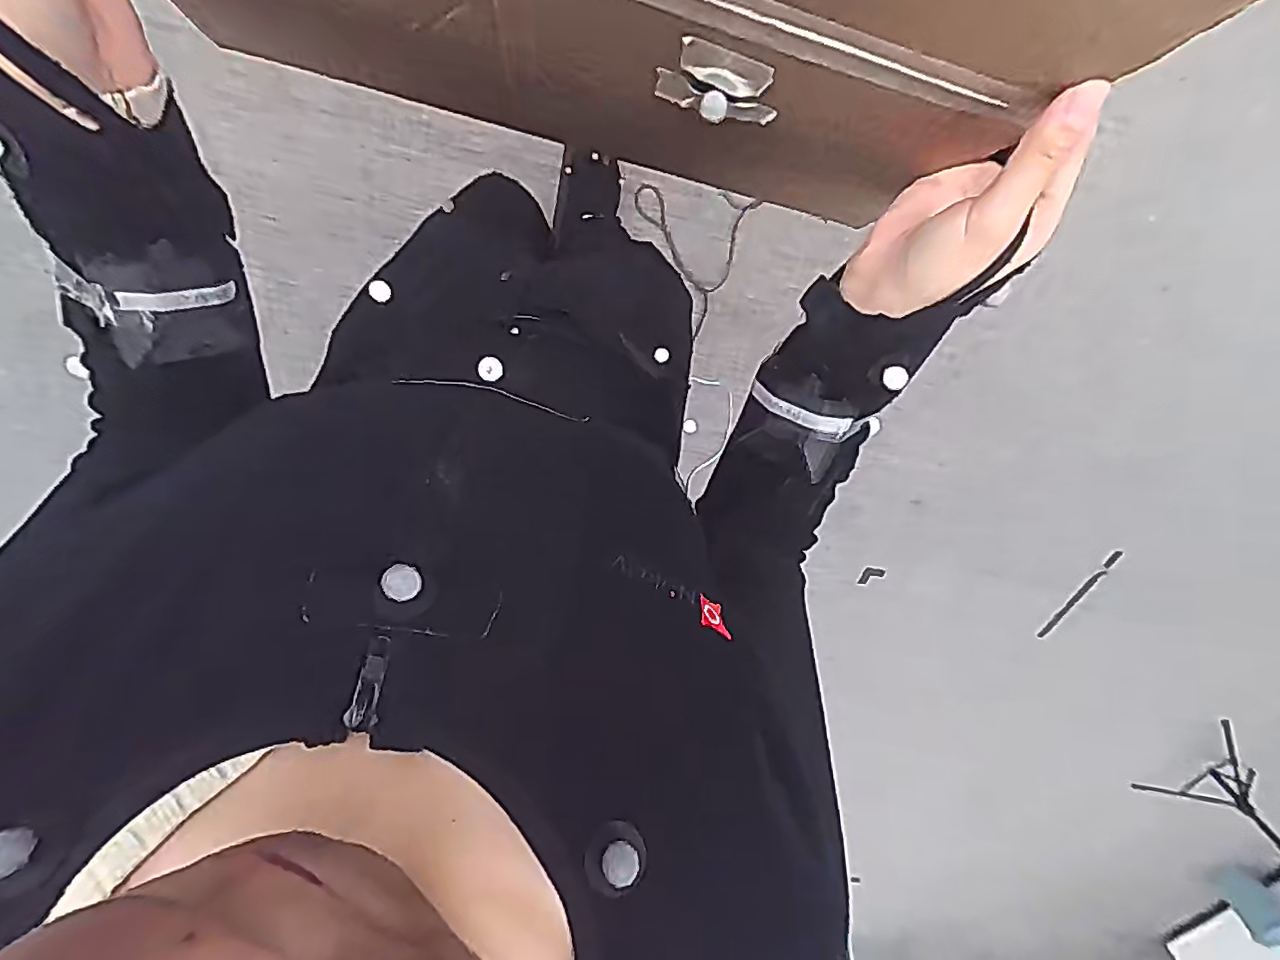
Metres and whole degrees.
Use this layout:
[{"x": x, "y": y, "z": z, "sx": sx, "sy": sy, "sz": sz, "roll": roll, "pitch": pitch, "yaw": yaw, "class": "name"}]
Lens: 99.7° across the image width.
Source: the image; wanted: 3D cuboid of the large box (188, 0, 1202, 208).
[{"x": 0.006, "y": -0.344, "z": 0.177, "sx": 0.408, "sy": 0.320, "sz": 0.320, "roll": 9, "pitch": 98, "yaw": -10, "class": "large box"}]
